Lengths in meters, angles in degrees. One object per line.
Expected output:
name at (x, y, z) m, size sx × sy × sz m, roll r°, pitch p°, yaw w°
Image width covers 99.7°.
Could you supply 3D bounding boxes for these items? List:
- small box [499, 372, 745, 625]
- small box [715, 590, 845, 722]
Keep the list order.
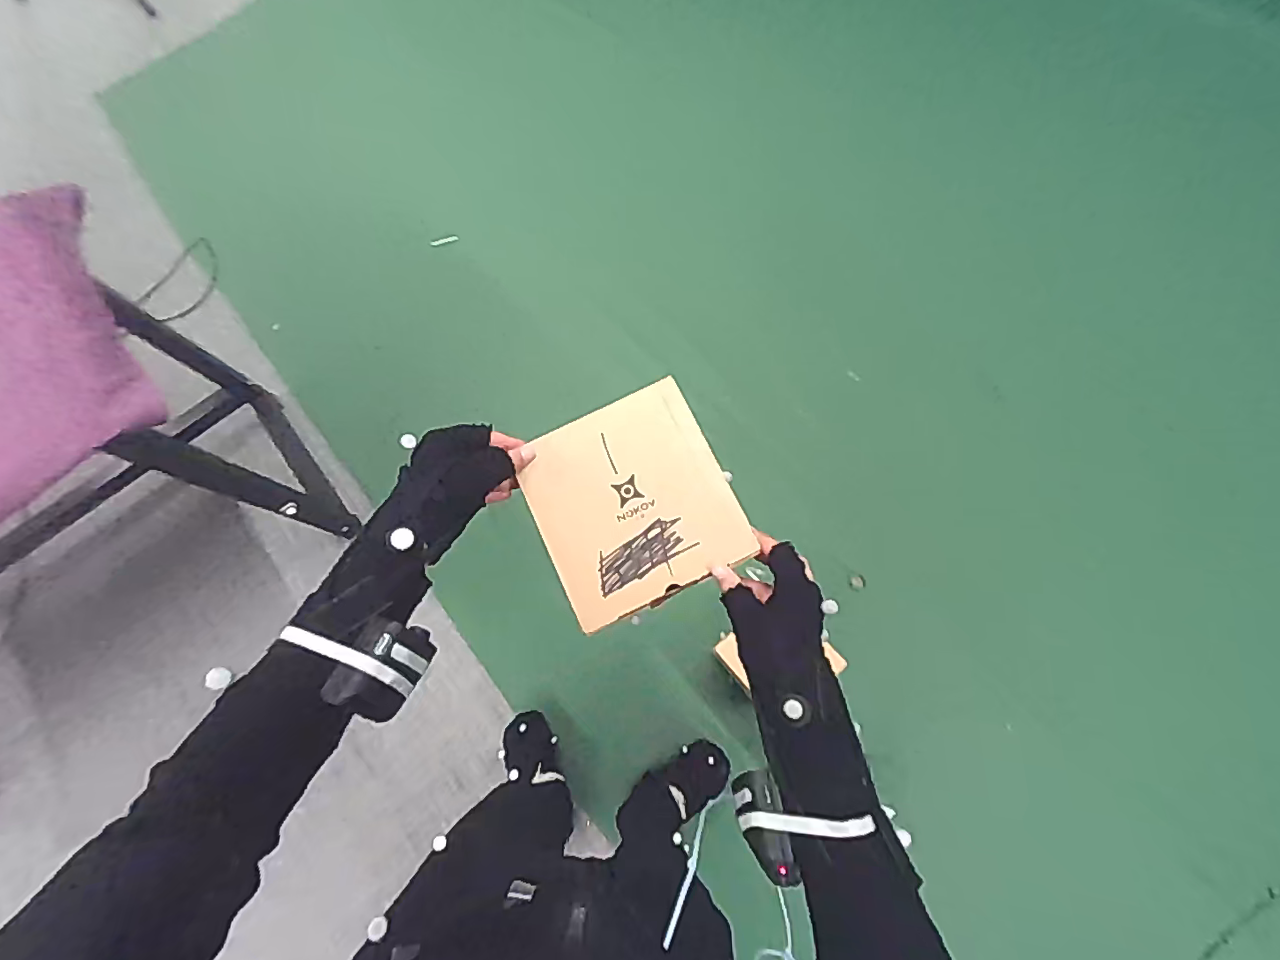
small box at (-0.013, 0.026, 0.543) m, size 0.168 × 0.176 × 0.179 m, roll -25°, pitch 78°, yaw -2°
small box at (0.260, 0.344, 1.060) m, size 0.168 × 0.176 × 0.179 m, roll -40°, pitch 72°, yaw -7°
